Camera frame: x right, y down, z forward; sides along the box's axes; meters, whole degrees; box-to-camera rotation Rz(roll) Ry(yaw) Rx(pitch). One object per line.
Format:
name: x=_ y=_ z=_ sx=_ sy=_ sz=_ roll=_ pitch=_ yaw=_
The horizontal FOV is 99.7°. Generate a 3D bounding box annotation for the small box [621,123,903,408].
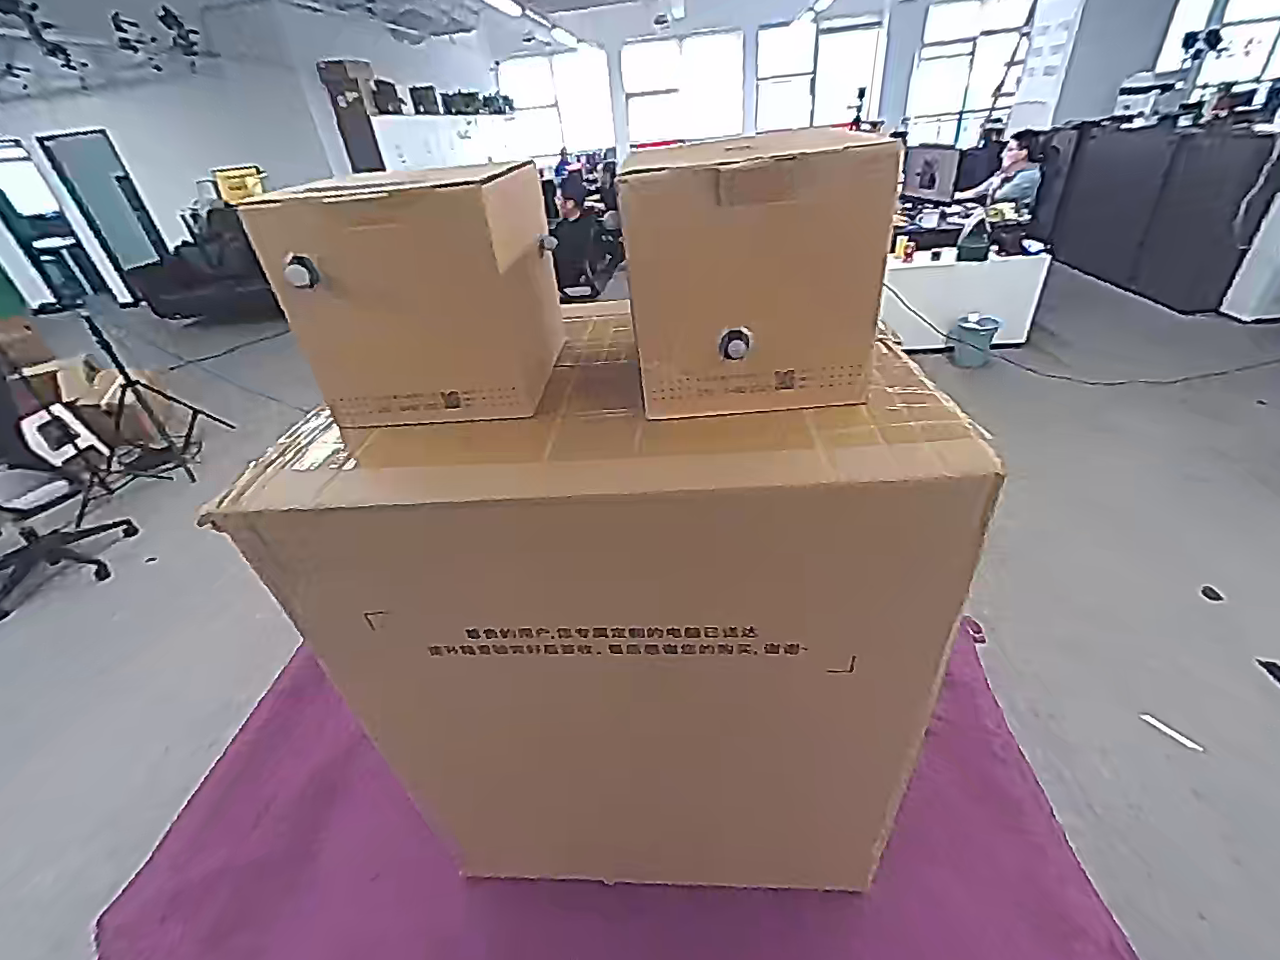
small box: x=0.080 y=-0.172 z=0.426 sx=0.168 sy=0.176 sz=0.179 roll=-5 pitch=35 yaw=4
